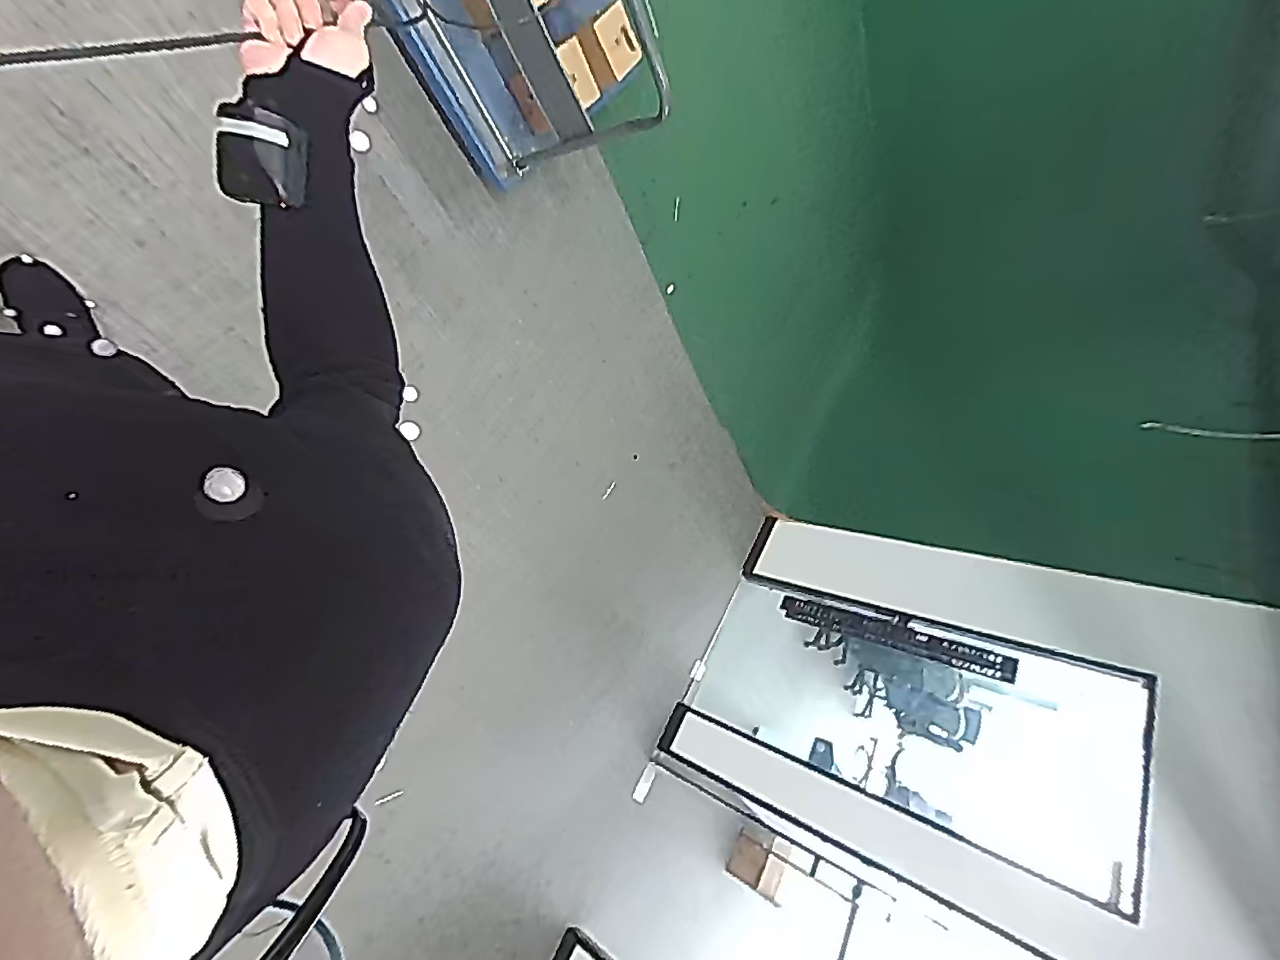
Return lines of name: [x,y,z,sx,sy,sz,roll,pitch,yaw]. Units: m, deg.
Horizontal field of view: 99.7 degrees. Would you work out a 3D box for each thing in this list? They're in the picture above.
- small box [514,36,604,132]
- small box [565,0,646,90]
small box: [-0.249,-1.205,1.655,0.179,0.176,0.168,-56,135,-25]
small box: [-0.116,-1.411,1.768,0.179,0.176,0.168,-59,135,-22]
